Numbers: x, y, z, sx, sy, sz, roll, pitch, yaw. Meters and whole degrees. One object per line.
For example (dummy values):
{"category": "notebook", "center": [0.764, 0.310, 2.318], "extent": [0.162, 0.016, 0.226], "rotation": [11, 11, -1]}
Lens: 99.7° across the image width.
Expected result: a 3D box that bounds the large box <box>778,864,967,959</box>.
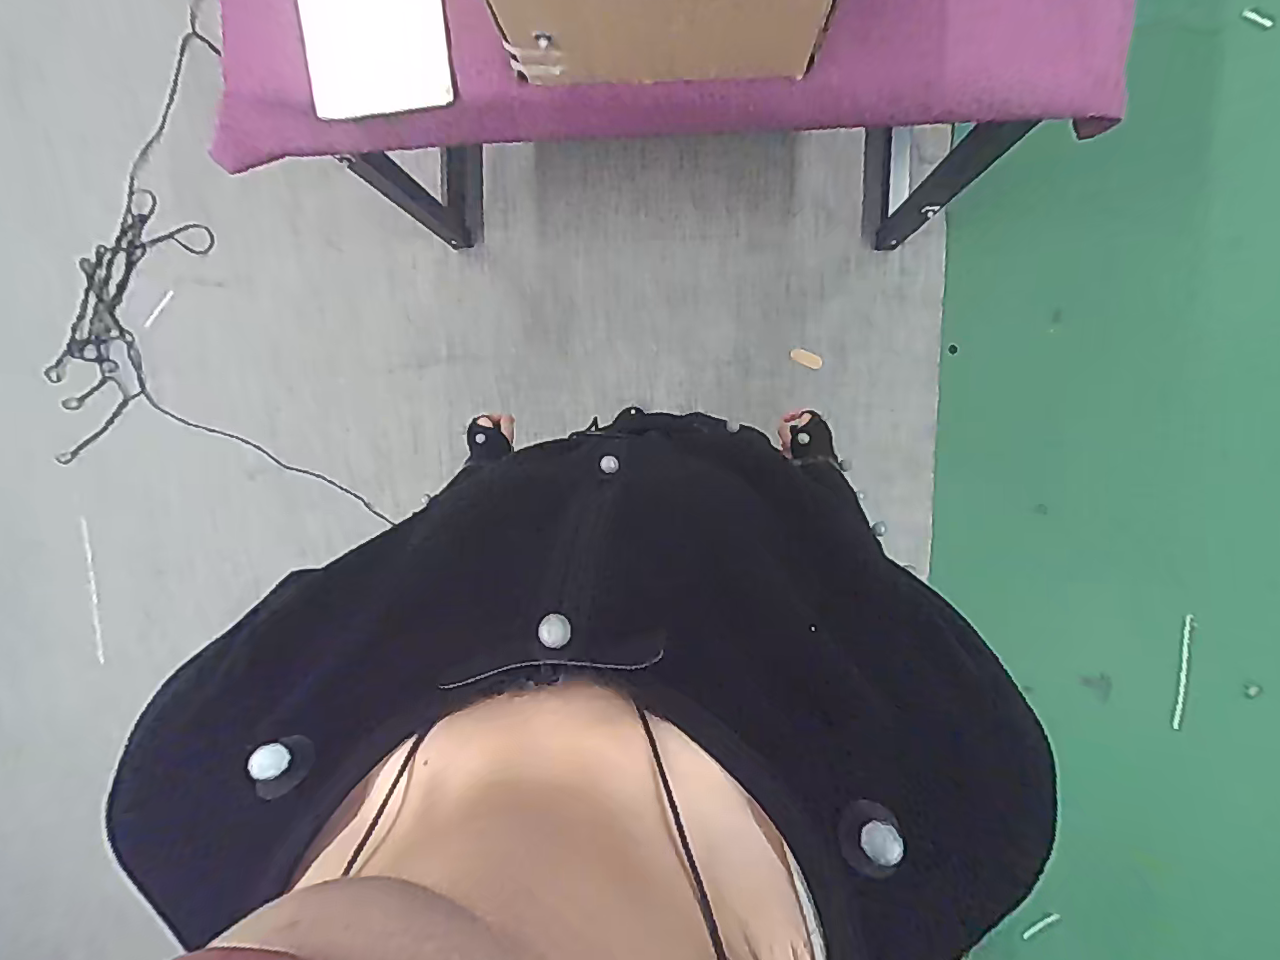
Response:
{"category": "large box", "center": [0.618, 1.297, 1.424], "extent": [0.408, 0.320, 0.320], "rotation": [-14, 95, 5]}
